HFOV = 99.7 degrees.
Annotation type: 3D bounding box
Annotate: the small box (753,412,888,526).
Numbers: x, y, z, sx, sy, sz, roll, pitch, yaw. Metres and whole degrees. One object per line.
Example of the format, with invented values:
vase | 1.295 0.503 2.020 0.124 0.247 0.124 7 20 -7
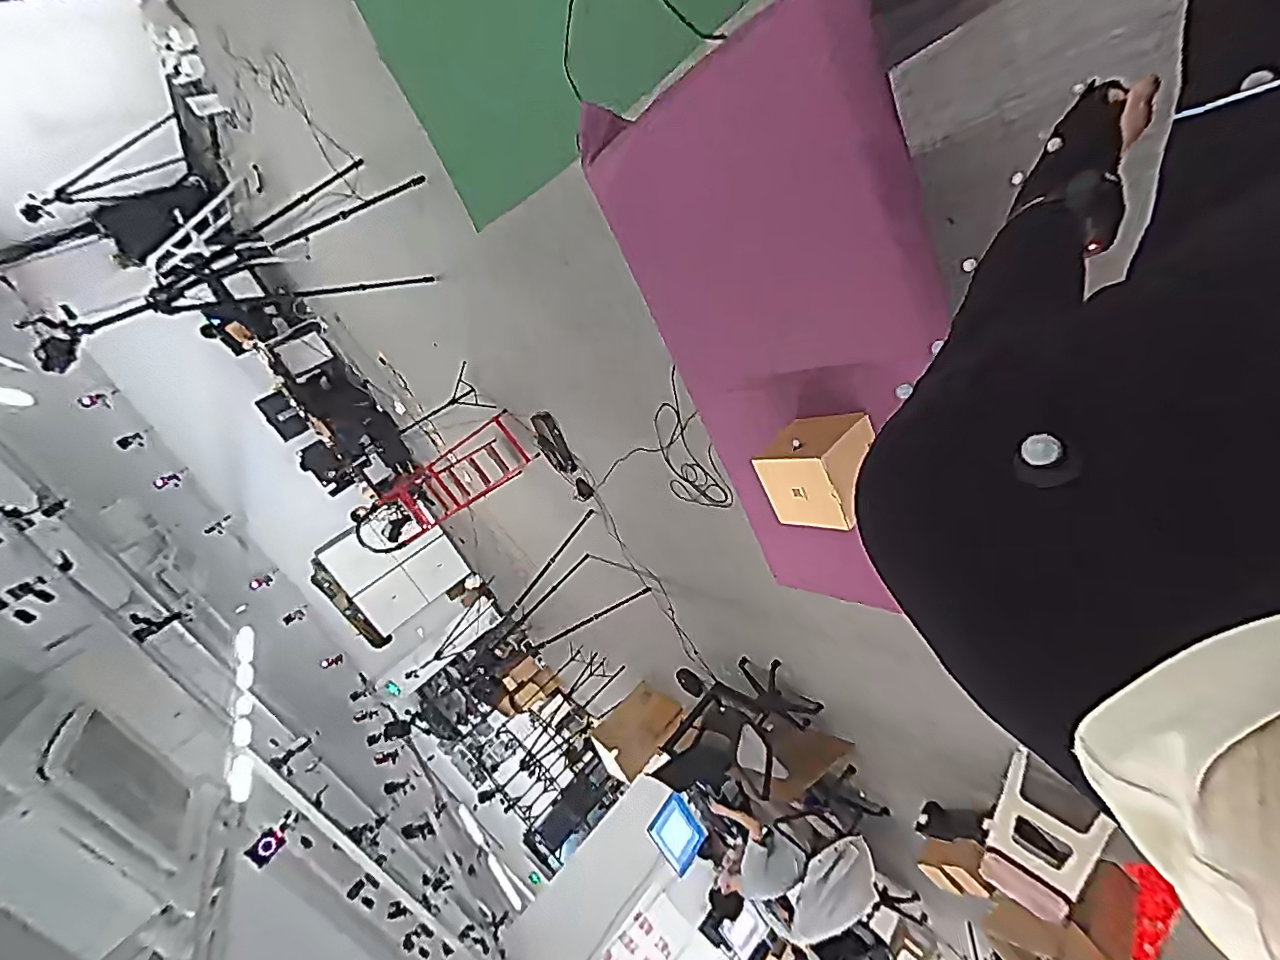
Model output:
small box | 0.372 -0.025 1.113 0.179 0.176 0.168 0 124 55
